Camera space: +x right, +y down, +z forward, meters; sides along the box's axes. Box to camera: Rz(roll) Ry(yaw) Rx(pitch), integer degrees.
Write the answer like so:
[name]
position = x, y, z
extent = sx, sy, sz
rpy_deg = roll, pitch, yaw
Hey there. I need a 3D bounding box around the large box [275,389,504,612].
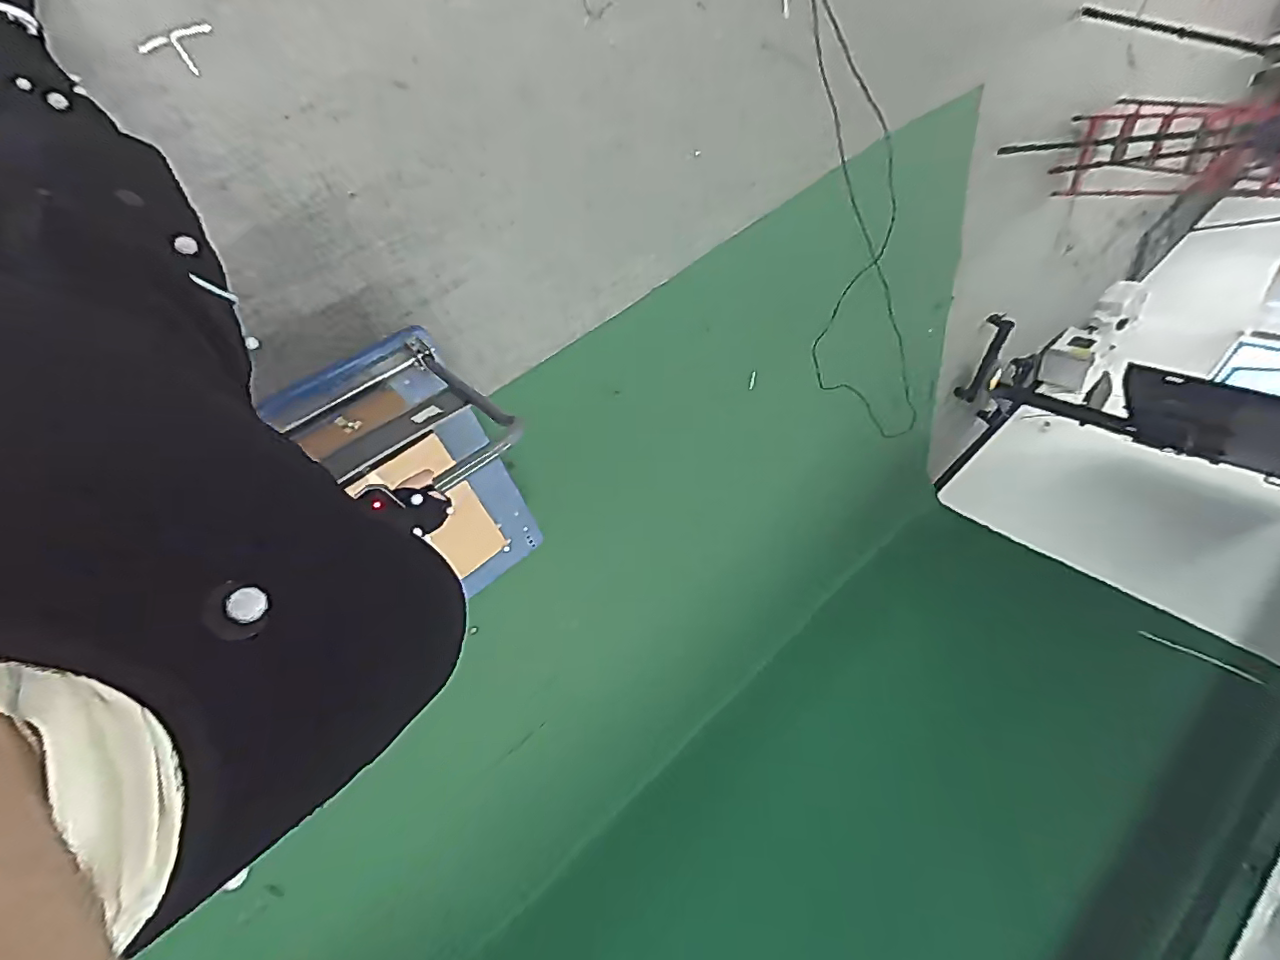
[large box]
position = -0.621, 0.047, 1.372
extent = 0.320, 0.320, 0.408
rpy_deg = -37, 136, -18
